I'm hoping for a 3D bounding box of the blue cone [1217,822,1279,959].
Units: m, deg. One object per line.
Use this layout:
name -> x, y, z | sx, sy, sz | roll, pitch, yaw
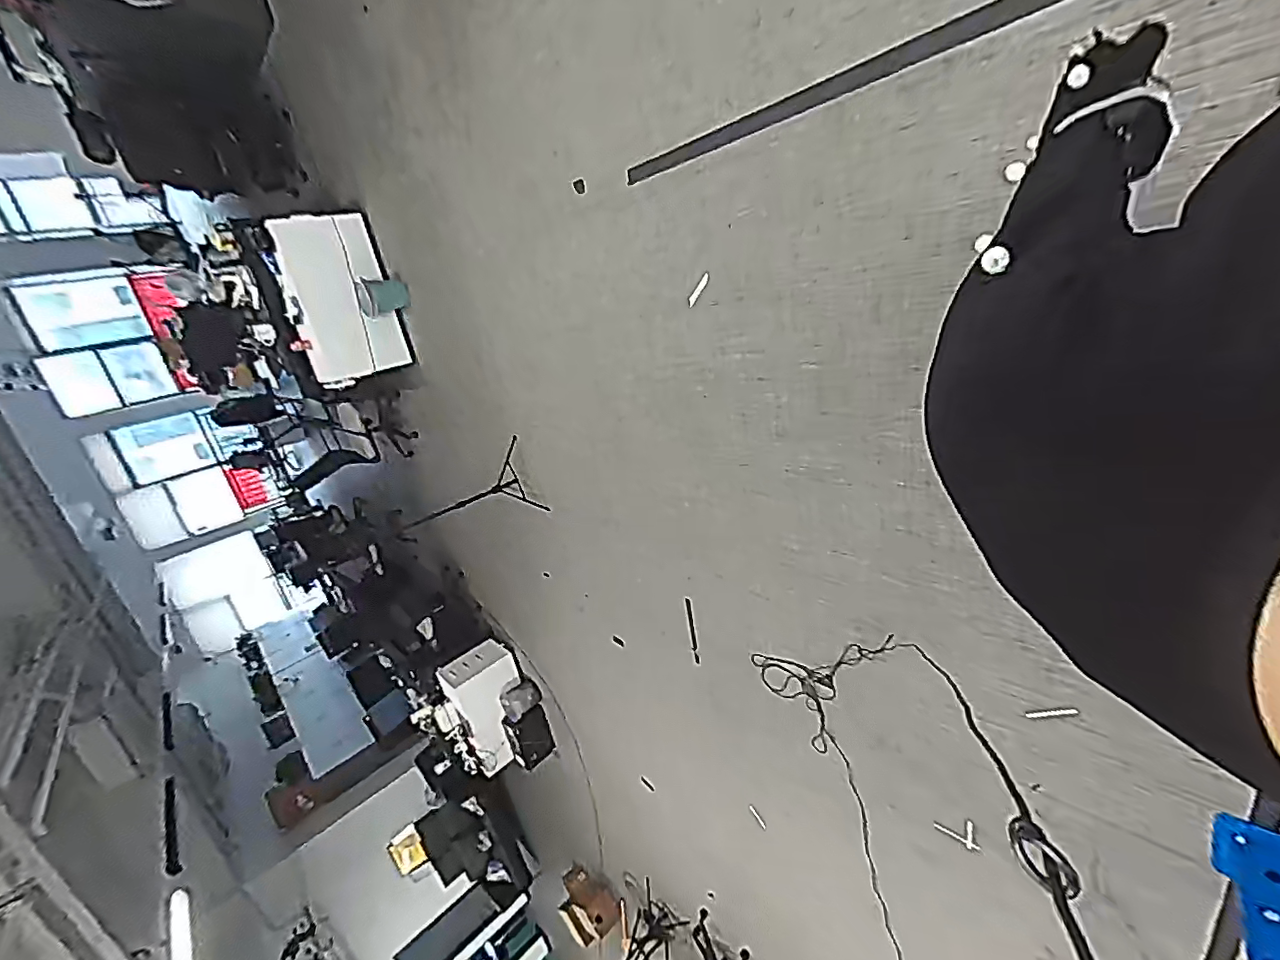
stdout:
blue cone -> 1.375, 0.966, 1.163 | 0.192, 0.380, 0.193 | 6, 117, 48
